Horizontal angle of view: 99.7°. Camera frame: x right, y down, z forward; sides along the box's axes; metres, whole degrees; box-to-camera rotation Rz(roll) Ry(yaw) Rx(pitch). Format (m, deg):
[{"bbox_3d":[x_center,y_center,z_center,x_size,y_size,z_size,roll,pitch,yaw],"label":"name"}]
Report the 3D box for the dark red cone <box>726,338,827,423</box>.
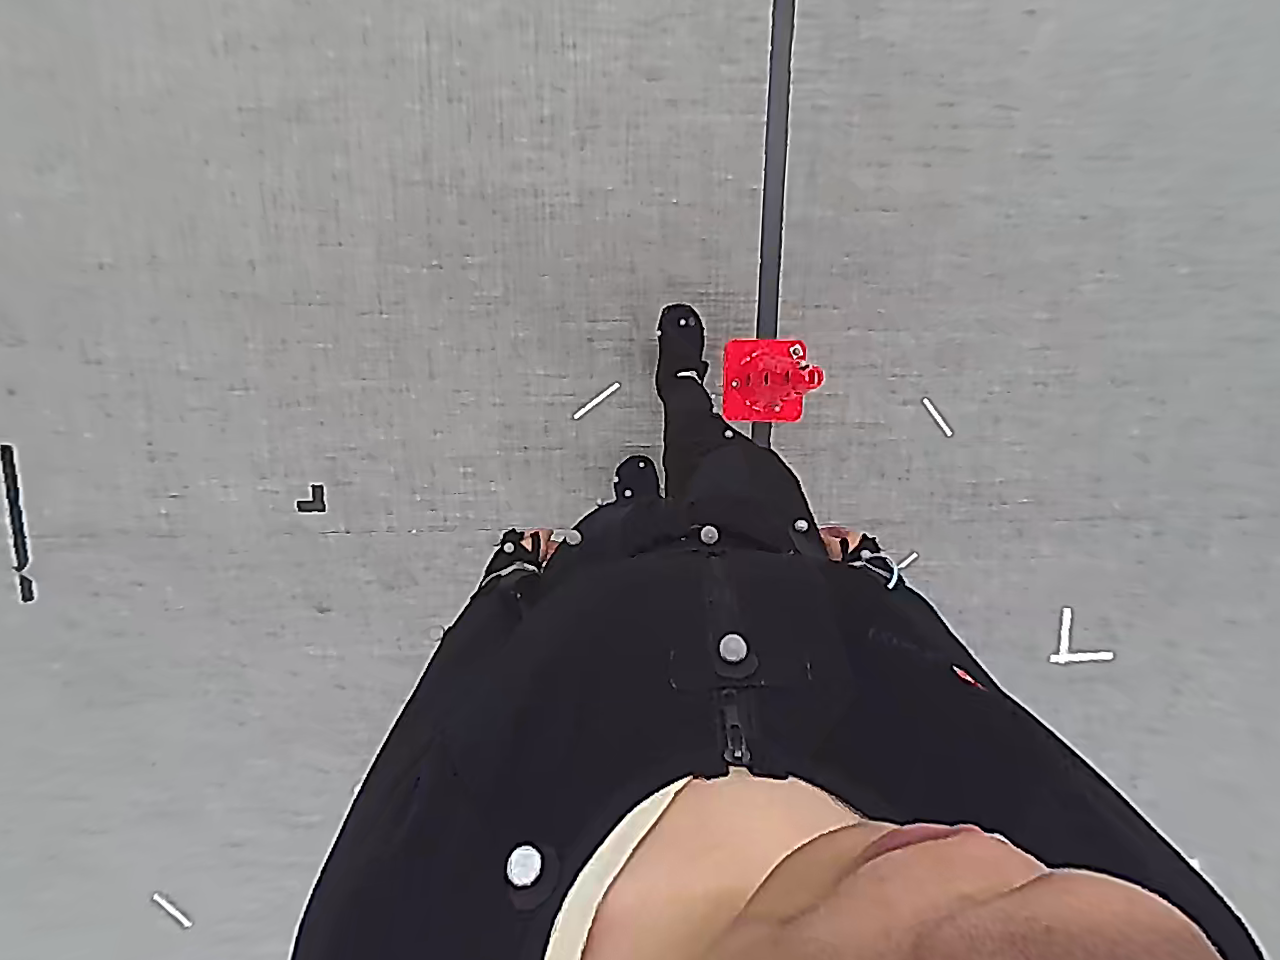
[{"bbox_3d":[0.310,-0.211,1.138,0.201,0.394,0.202,0,100,-1],"label":"dark red cone"}]
